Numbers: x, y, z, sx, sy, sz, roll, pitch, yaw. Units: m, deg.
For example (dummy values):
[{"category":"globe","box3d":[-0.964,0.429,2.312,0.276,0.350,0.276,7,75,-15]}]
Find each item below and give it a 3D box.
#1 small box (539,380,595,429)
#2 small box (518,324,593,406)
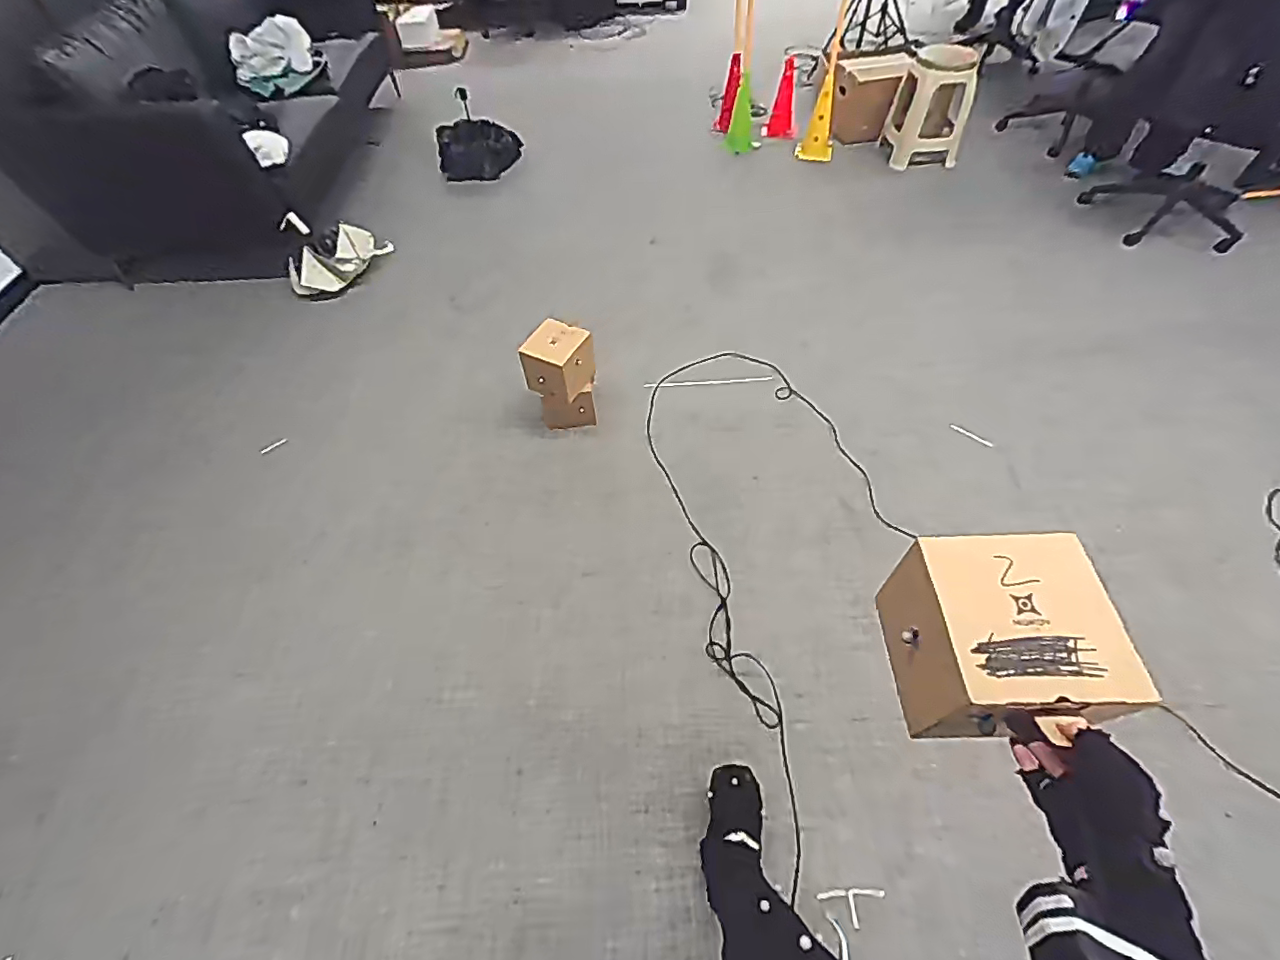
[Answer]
[{"category":"small box","box3d":[-0.251,-0.296,1.880,0.179,0.176,0.168,-7,54,-2]},{"category":"small box","box3d":[-0.263,-0.369,1.751,0.168,0.176,0.179,22,58,17]}]
